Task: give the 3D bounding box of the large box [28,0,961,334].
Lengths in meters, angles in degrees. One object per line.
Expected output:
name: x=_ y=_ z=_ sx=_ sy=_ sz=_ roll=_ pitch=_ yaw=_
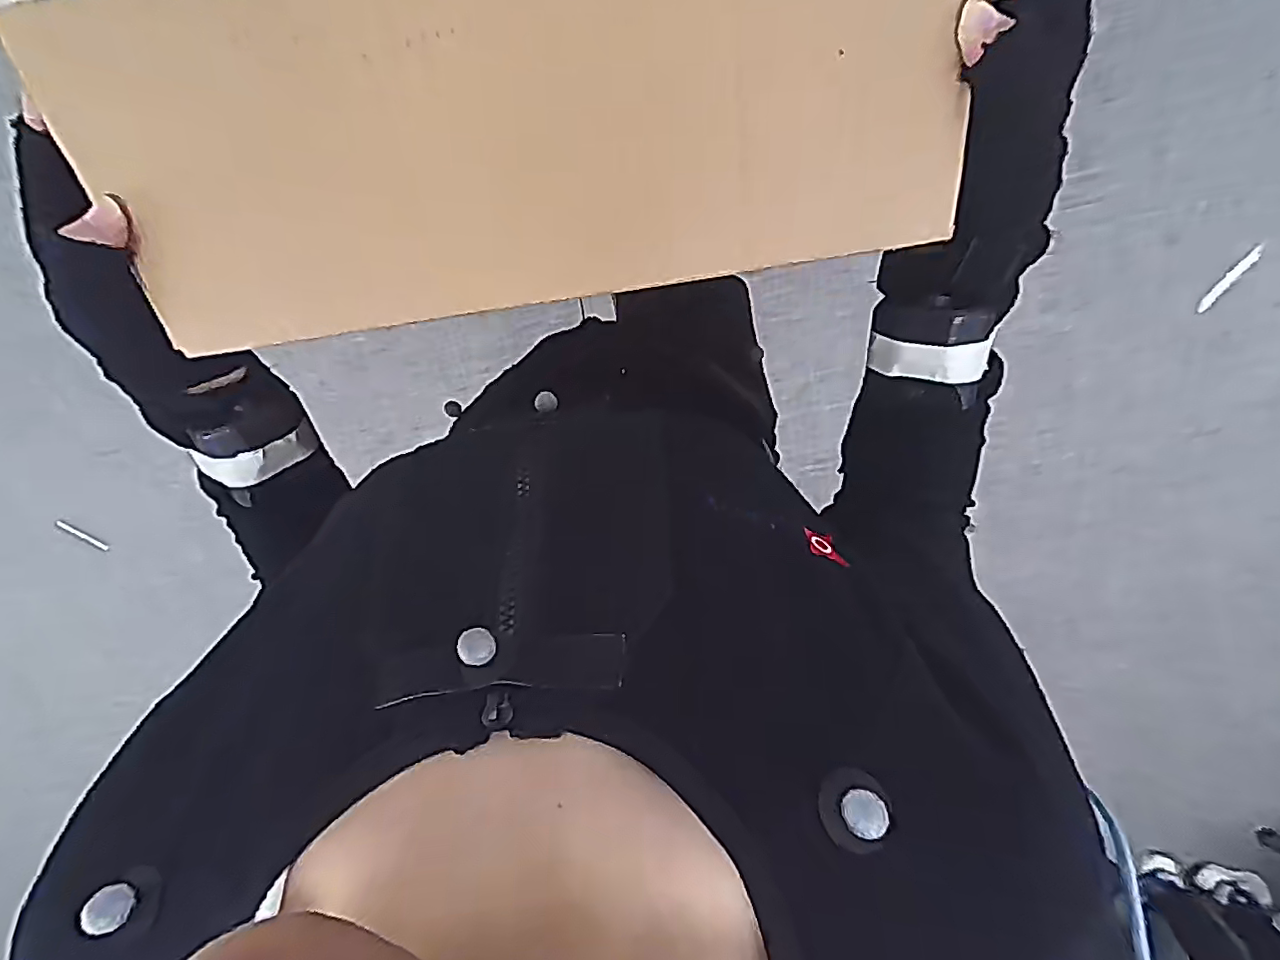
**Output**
large box: x=-0.069 y=-0.311 z=0.344 sx=0.408 sy=0.320 sz=0.320 roll=-8 pitch=120 yaw=4
